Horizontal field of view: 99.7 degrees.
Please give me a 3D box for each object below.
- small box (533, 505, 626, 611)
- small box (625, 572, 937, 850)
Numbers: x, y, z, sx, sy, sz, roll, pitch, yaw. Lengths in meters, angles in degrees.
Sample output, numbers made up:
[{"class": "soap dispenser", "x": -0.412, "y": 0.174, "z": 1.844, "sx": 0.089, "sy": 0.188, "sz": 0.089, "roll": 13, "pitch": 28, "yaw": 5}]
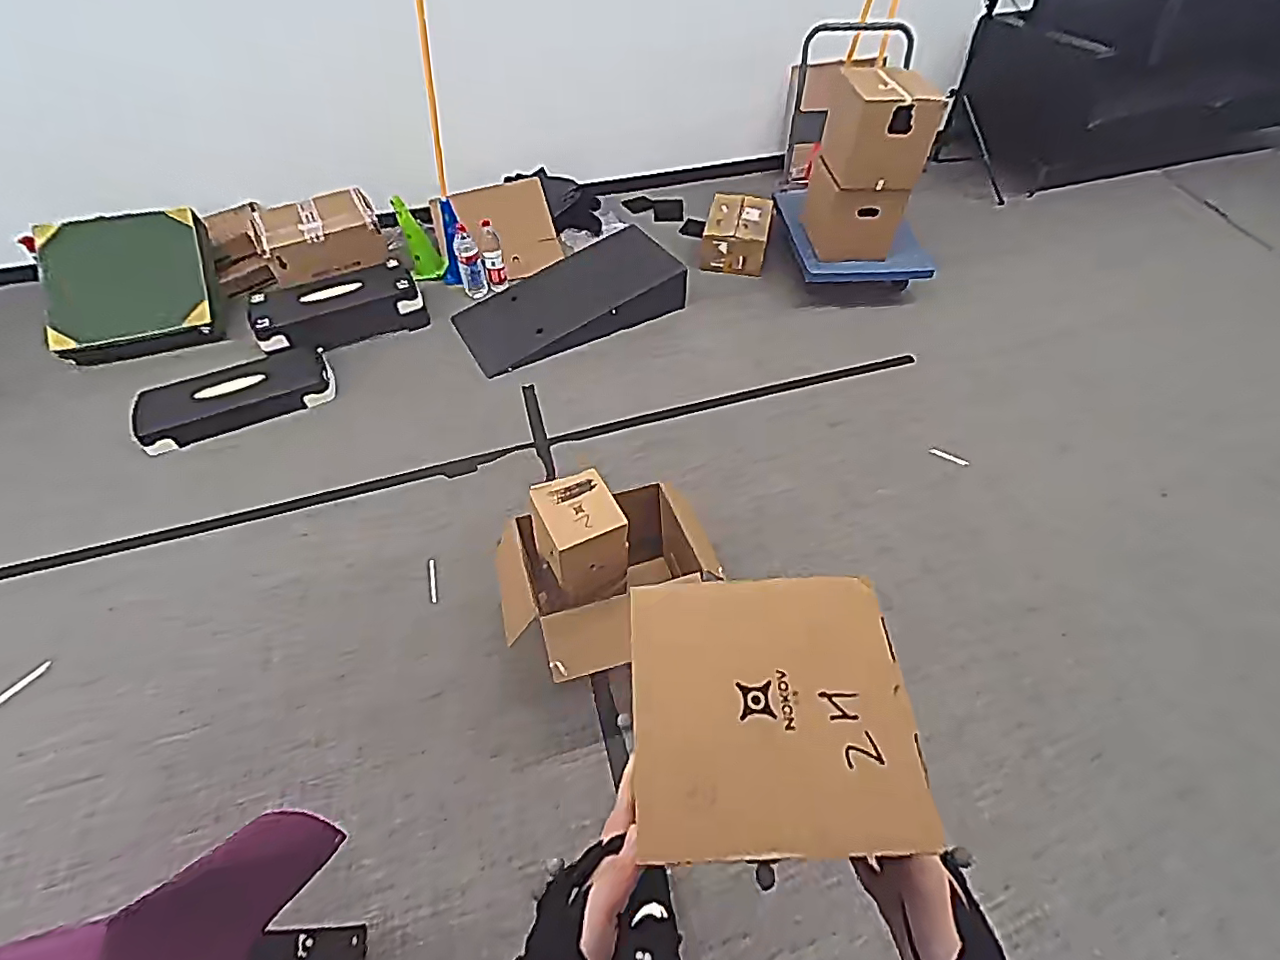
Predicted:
[{"class": "small box", "x": -0.152, "y": 0.204, "z": 1.390, "sx": 0.179, "sy": 0.176, "sz": 0.168, "roll": -30, "pitch": 59, "yaw": -26}, {"class": "small box", "x": 0.083, "y": 0.182, "z": 0.413, "sx": 0.179, "sy": 0.176, "sz": 0.168, "roll": -3, "pitch": 57, "yaw": 1}]
